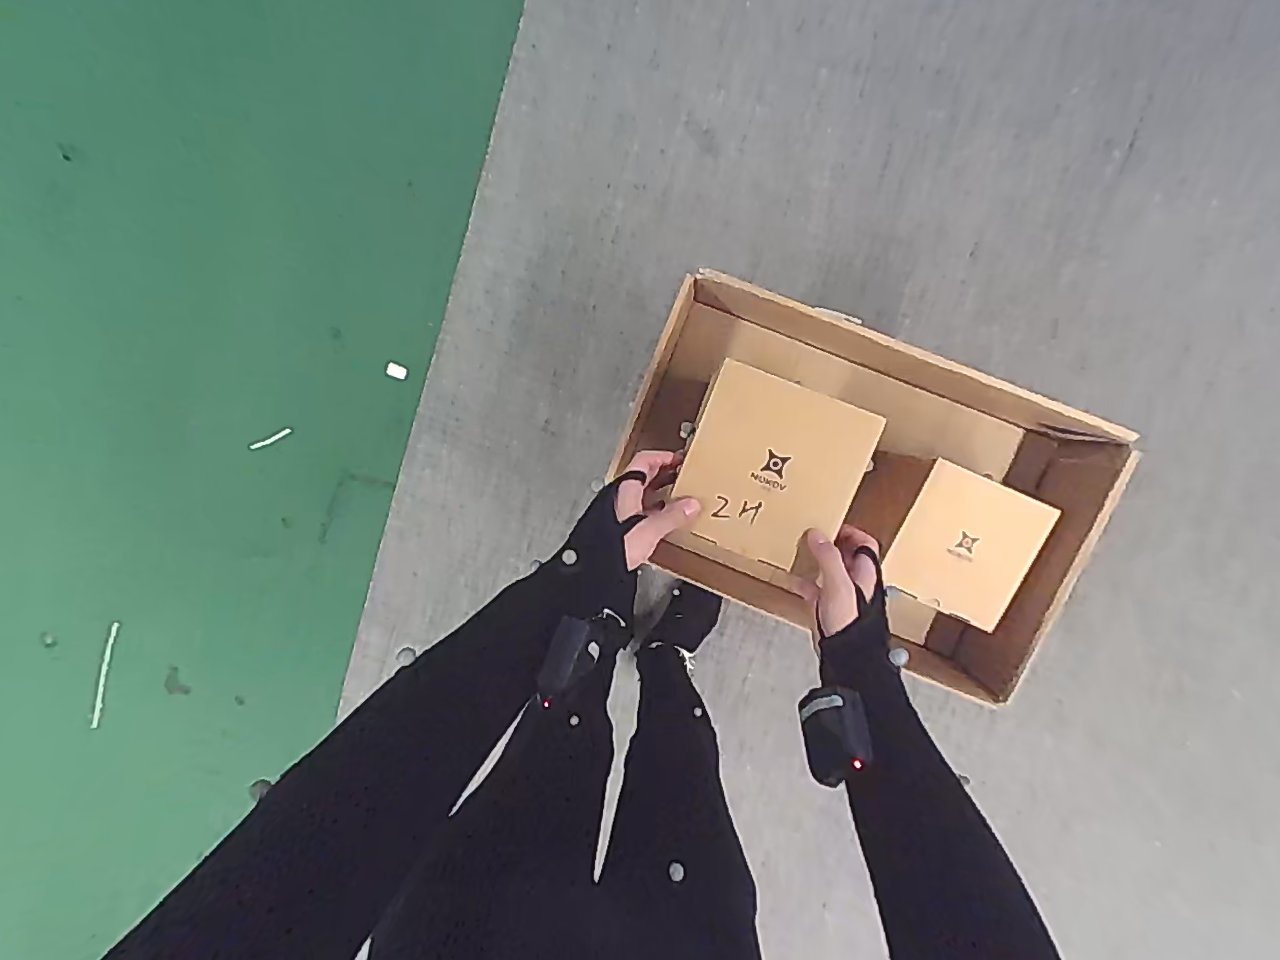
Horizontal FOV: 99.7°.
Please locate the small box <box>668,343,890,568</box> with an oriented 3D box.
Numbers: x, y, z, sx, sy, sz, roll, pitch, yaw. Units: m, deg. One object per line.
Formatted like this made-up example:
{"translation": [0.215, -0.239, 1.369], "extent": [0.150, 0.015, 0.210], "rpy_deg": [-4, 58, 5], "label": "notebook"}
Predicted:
{"translation": [0.138, -0.030, 0.601], "extent": [0.168, 0.176, 0.179], "rpy_deg": [22, 97, 3], "label": "small box"}
